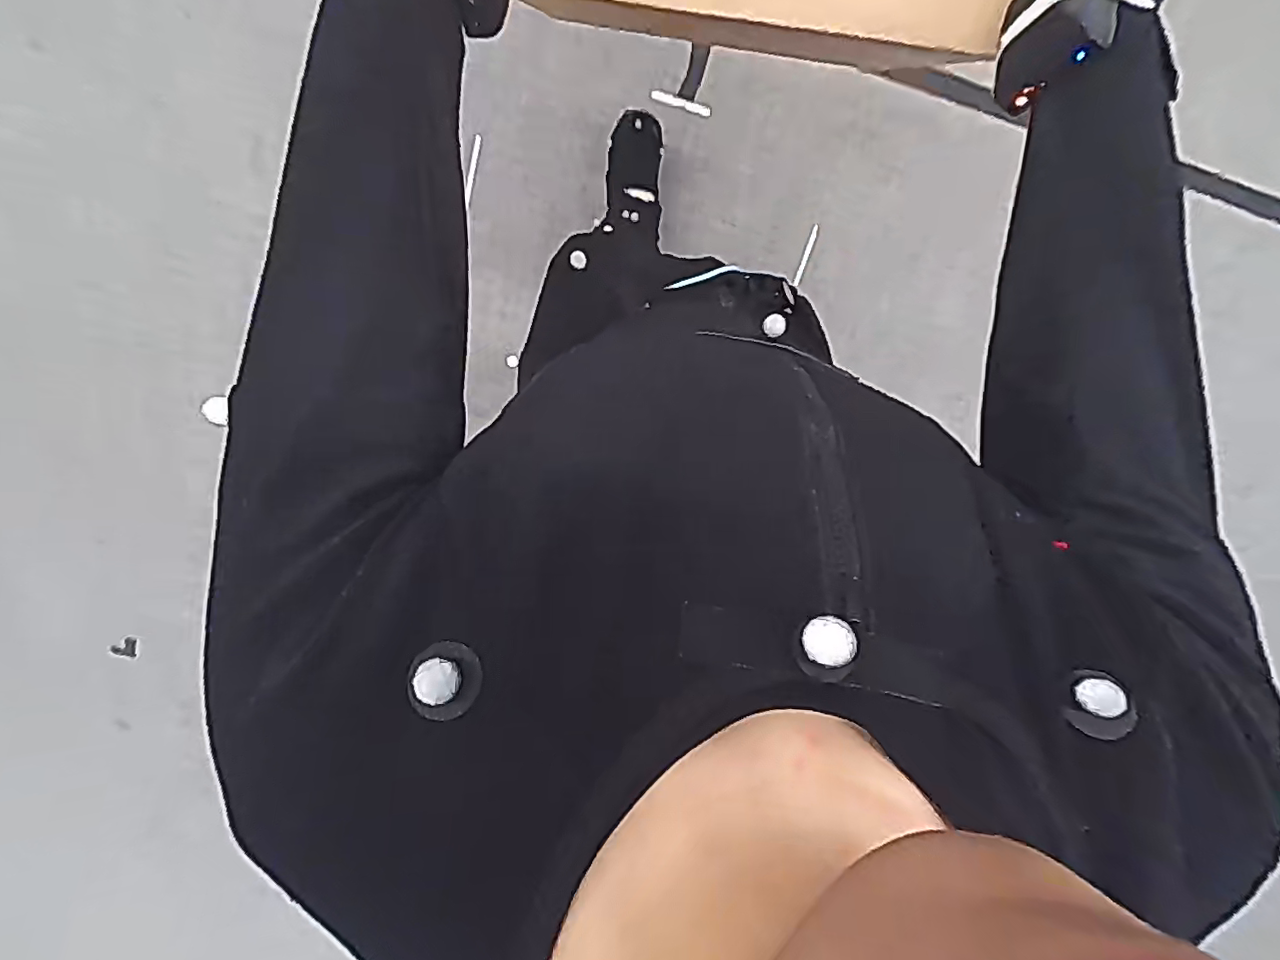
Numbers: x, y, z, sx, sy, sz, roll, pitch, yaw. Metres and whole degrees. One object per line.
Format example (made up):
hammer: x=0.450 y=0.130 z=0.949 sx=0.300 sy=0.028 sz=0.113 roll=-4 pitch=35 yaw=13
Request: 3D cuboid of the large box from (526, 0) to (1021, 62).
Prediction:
large box: x=0.102 y=-0.563 z=0.442 sx=0.408 sy=0.320 sz=0.320 roll=6 pitch=128 yaw=-3
